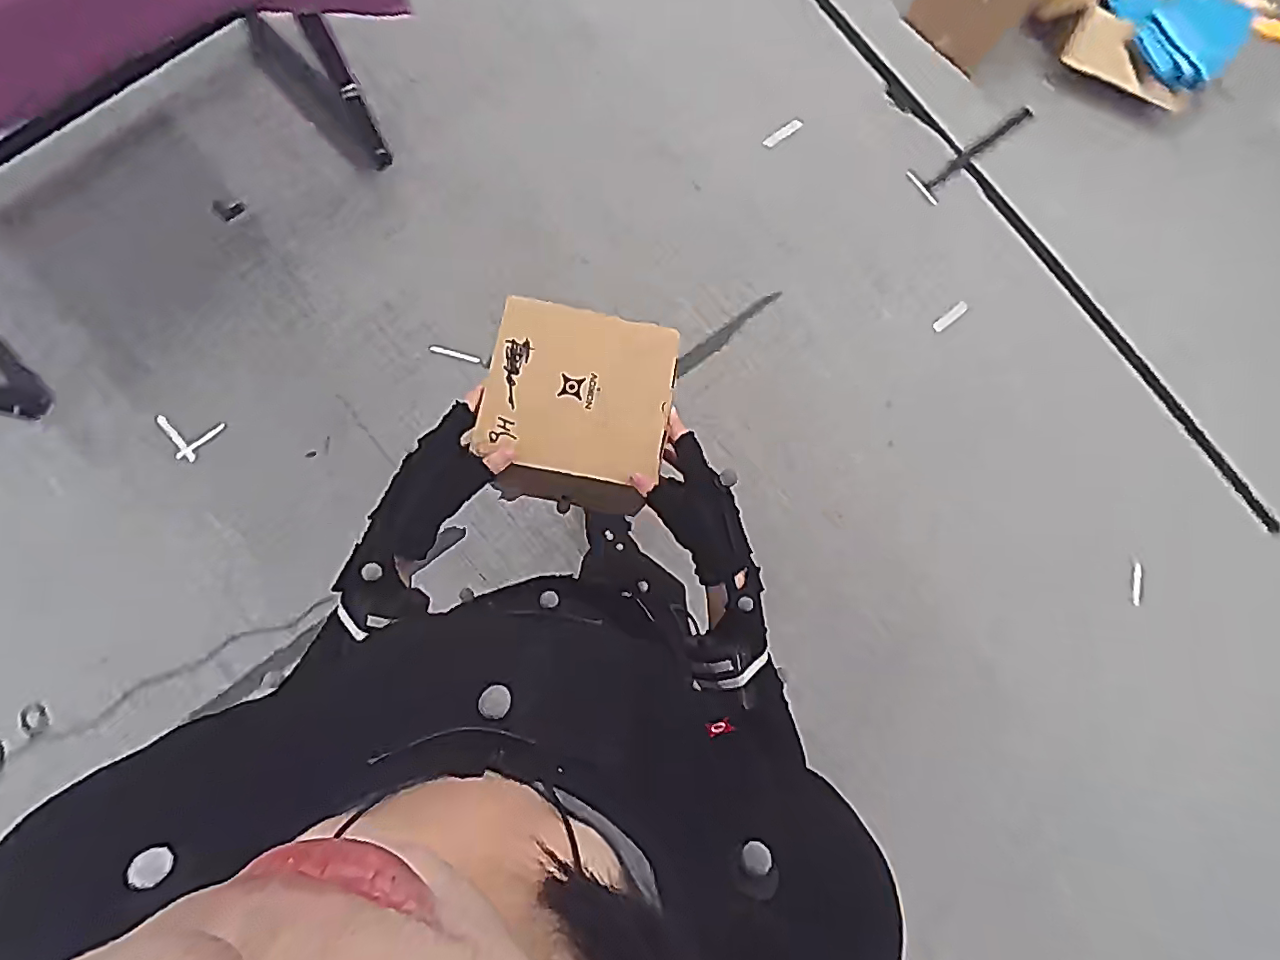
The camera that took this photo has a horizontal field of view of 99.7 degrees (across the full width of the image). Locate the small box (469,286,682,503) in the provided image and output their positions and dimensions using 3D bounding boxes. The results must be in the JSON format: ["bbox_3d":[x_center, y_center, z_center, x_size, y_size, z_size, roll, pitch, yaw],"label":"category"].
[{"bbox_3d":[-0.067,-0.076,0.581,0.179,0.176,0.168,10,77,-6],"label":"small box"}]
